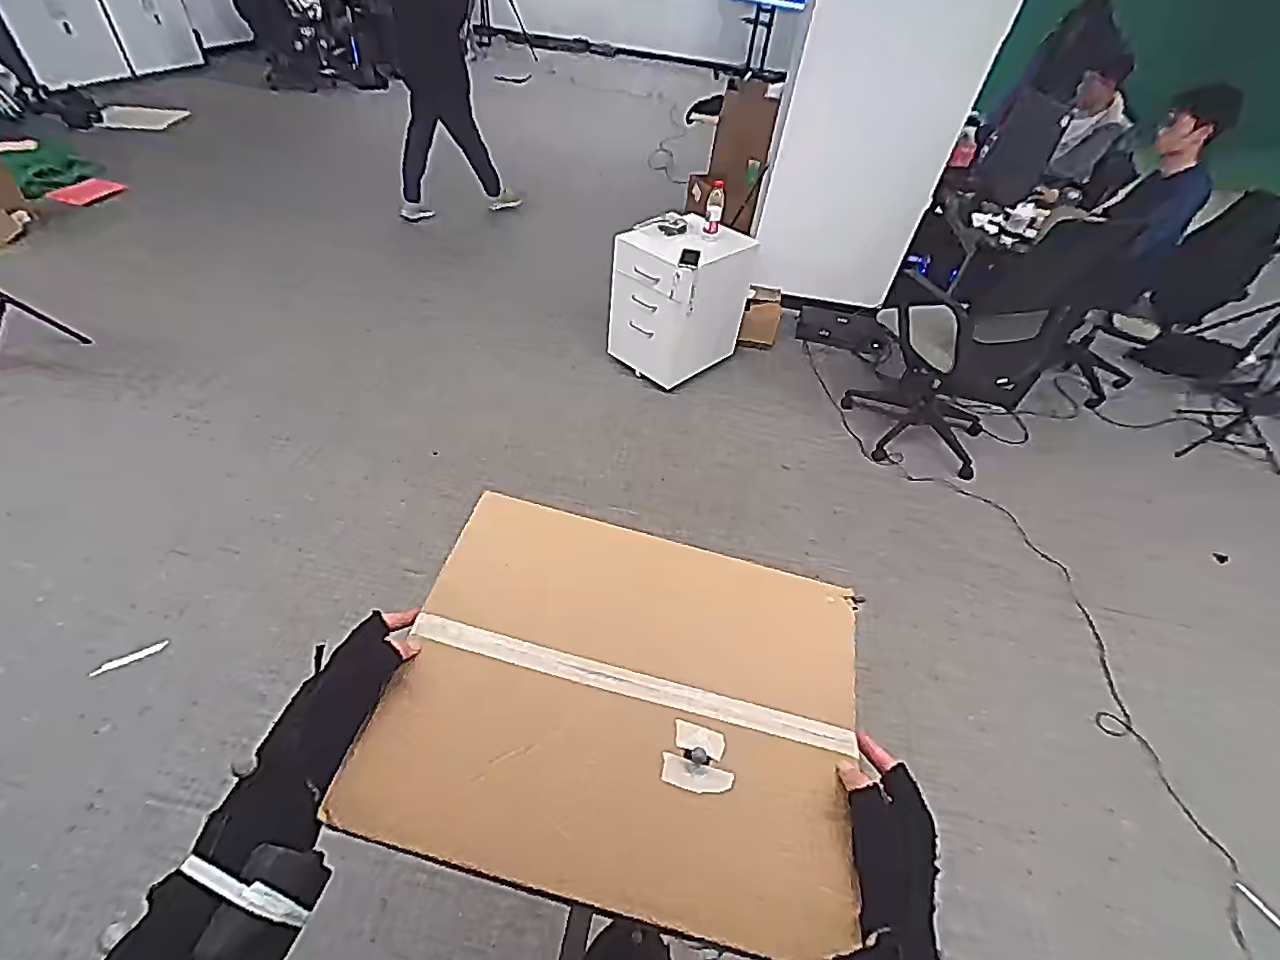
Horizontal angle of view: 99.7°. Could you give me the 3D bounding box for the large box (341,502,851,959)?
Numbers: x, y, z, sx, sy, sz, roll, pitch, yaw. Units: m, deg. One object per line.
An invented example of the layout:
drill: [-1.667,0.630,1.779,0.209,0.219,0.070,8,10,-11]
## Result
large box: [-0.026,0.276,0.609,0.408,0.320,0.320,16,53,2]
